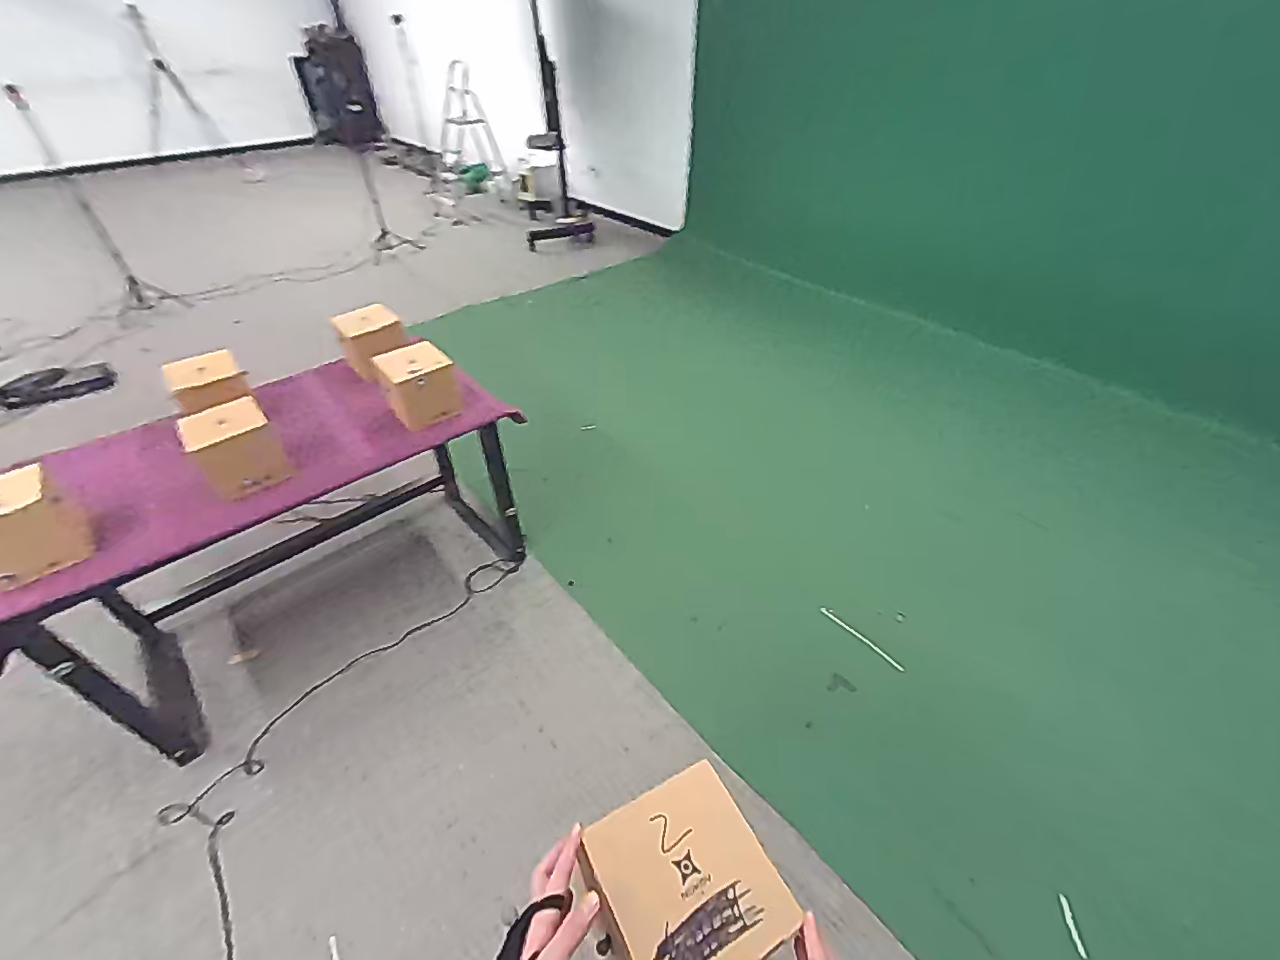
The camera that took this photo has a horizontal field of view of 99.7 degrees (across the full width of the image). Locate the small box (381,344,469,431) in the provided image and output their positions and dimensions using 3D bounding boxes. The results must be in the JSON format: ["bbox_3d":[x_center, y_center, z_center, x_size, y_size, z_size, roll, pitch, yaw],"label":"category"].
[{"bbox_3d":[-0.628,-0.271,1.589,0.168,0.176,0.179,-31,50,-27],"label":"small box"}]

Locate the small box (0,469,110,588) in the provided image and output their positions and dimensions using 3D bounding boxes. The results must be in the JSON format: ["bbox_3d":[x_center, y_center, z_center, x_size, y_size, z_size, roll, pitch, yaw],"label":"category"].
[{"bbox_3d":[-1.318,0.112,1.187,0.168,0.176,0.179,-30,47,-29],"label":"small box"}]

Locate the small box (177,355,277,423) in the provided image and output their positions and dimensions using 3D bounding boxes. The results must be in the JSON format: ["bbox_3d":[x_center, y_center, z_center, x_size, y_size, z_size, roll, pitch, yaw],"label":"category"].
[{"bbox_3d":[-1.202,-0.237,1.579,0.168,0.176,0.179,-29,50,-28],"label":"small box"}]

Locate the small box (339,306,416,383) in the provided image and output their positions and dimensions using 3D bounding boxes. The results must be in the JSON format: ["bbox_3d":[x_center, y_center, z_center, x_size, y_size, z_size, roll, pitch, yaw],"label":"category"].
[{"bbox_3d":[-0.859,-0.447,1.794,0.168,0.176,0.179,-34,52,-27],"label":"small box"}]

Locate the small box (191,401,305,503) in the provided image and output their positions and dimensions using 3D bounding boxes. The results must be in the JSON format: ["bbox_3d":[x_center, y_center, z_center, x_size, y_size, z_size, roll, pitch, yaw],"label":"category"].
[{"bbox_3d":[-0.999,-0.070,1.384,0.168,0.176,0.179,-31,49,-28],"label":"small box"}]
